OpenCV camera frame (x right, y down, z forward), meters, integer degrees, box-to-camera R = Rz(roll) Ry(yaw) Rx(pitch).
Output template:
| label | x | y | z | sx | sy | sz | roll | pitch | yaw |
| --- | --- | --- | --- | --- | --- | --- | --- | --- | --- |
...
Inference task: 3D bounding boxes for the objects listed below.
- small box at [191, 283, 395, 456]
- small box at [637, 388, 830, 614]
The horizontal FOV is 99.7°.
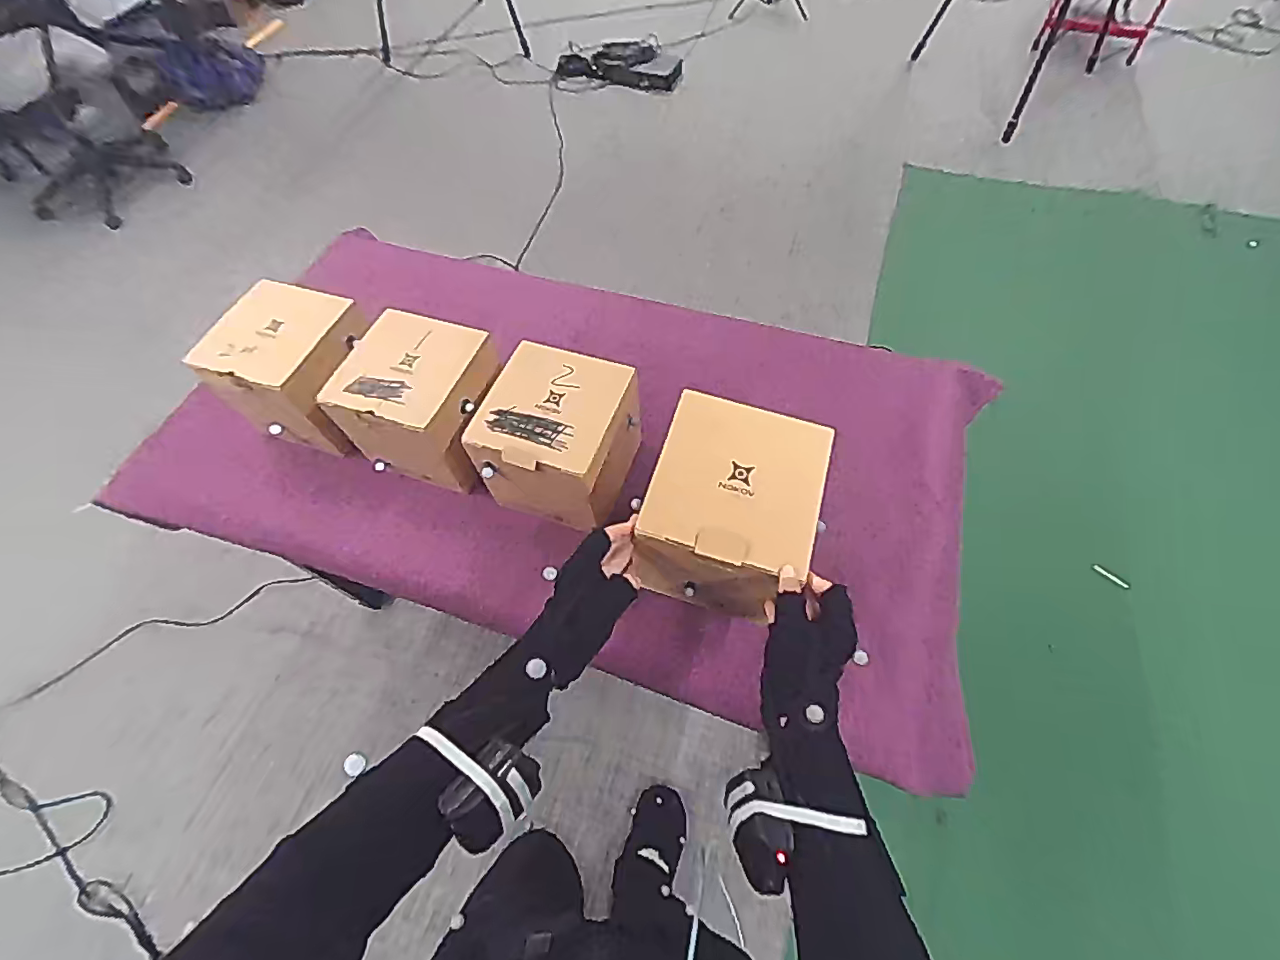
| label | x | y | z | sx | sy | sz | roll | pitch | yaw |
| --- | --- | --- | --- | --- | --- | --- | --- | --- | --- |
| small box | -0.510 | -0.166 | 0.832 | 0.168 | 0.176 | 0.179 | 15 | 63 | 12 |
| small box | 0.097 | 0.031 | 0.613 | 0.168 | 0.176 | 0.179 | 16 | 65 | 8 |
